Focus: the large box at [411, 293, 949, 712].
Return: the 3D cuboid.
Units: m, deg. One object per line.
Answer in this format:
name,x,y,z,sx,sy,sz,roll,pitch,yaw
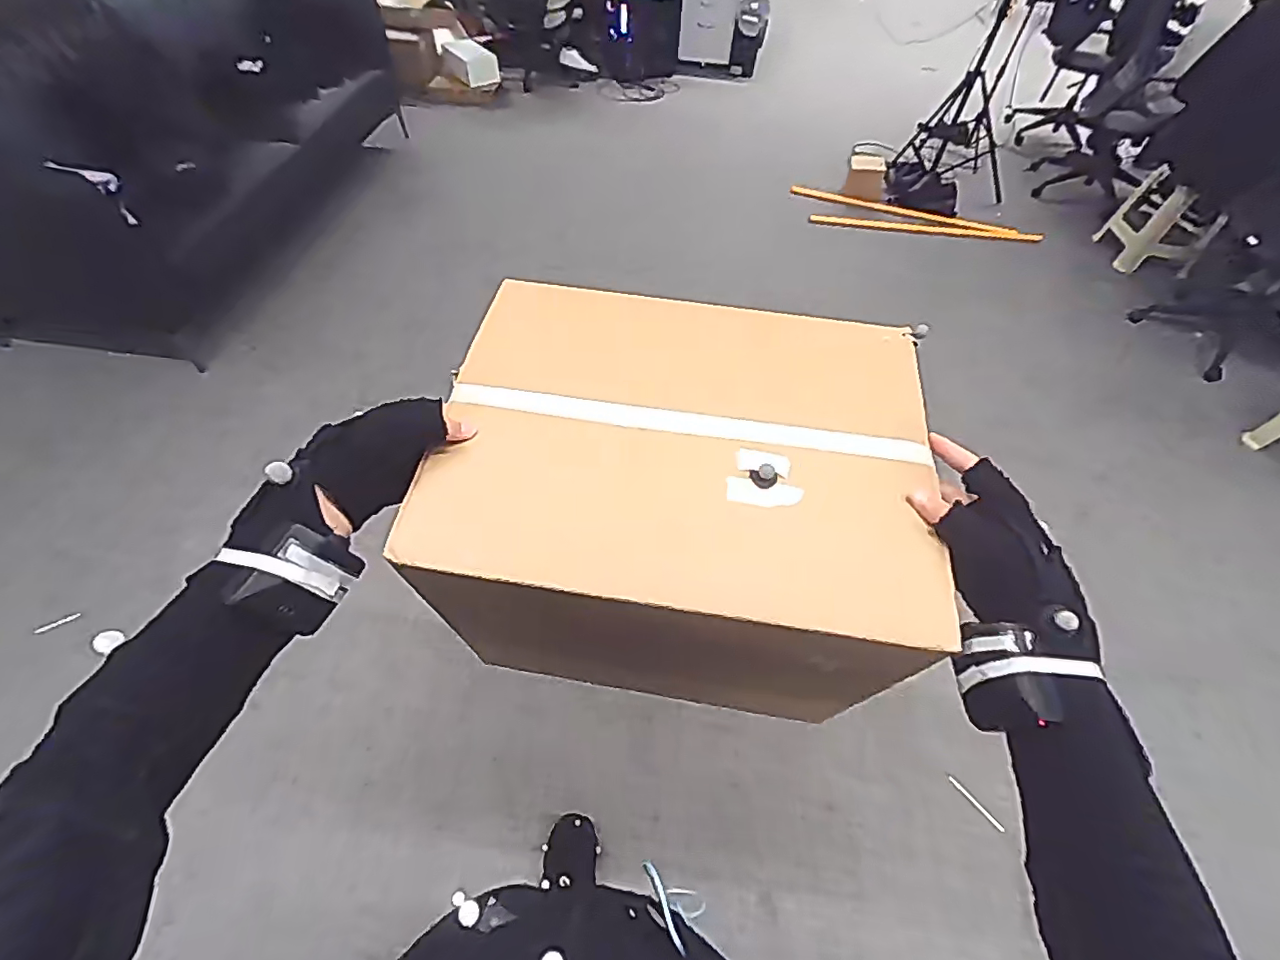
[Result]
large box,0.038,0.038,0.594,0.408,0.320,0.320,9,58,3
